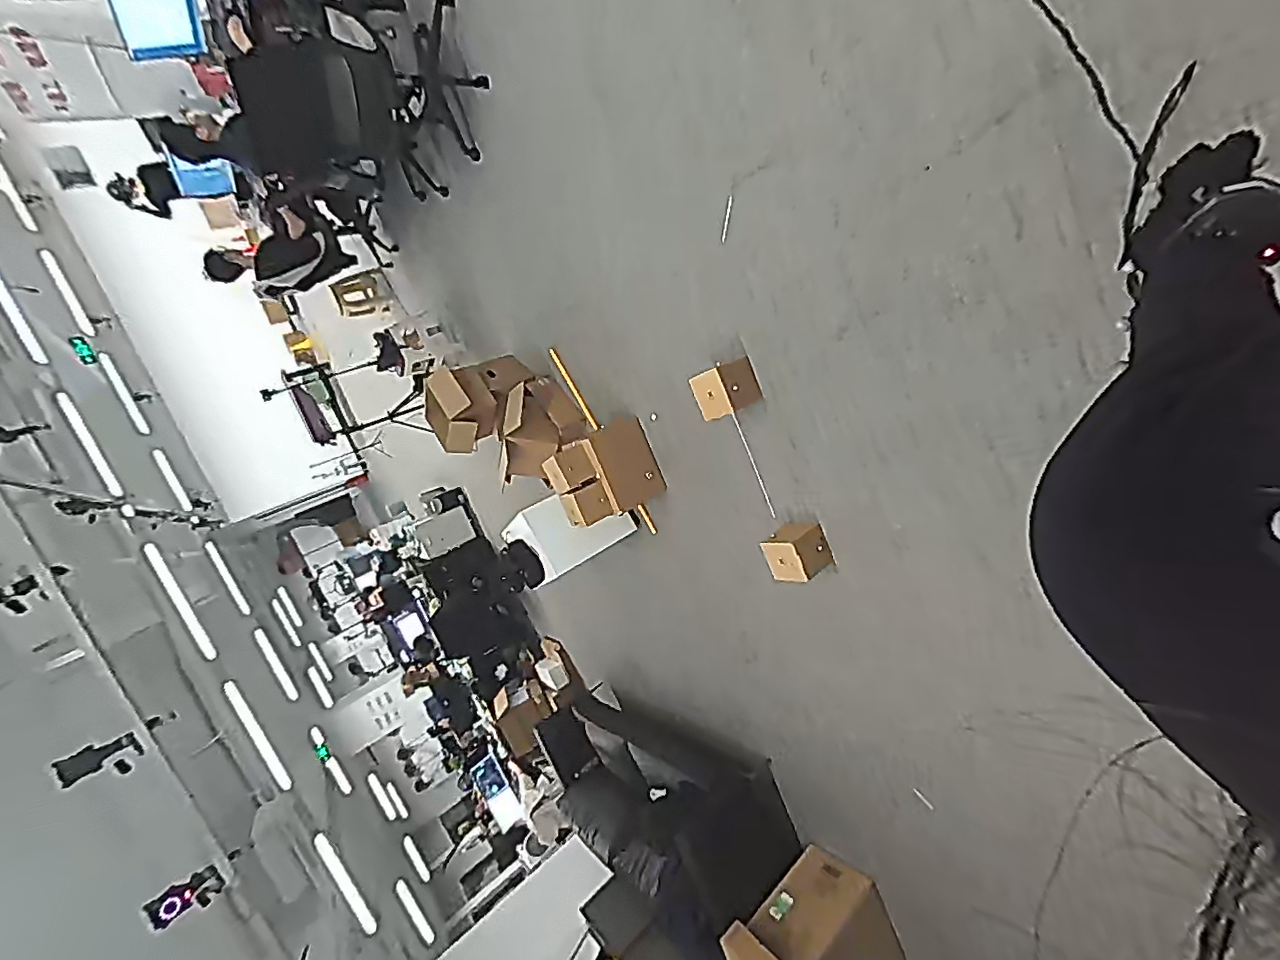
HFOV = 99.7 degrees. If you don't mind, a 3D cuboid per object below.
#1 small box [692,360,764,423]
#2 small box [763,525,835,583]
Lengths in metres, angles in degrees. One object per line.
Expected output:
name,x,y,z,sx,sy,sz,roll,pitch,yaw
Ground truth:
small box,0.331,-0.335,2.020,0.168,0.176,0.179,-12,105,58
small box,0.619,0.282,2.094,0.179,0.176,0.168,-12,104,58
